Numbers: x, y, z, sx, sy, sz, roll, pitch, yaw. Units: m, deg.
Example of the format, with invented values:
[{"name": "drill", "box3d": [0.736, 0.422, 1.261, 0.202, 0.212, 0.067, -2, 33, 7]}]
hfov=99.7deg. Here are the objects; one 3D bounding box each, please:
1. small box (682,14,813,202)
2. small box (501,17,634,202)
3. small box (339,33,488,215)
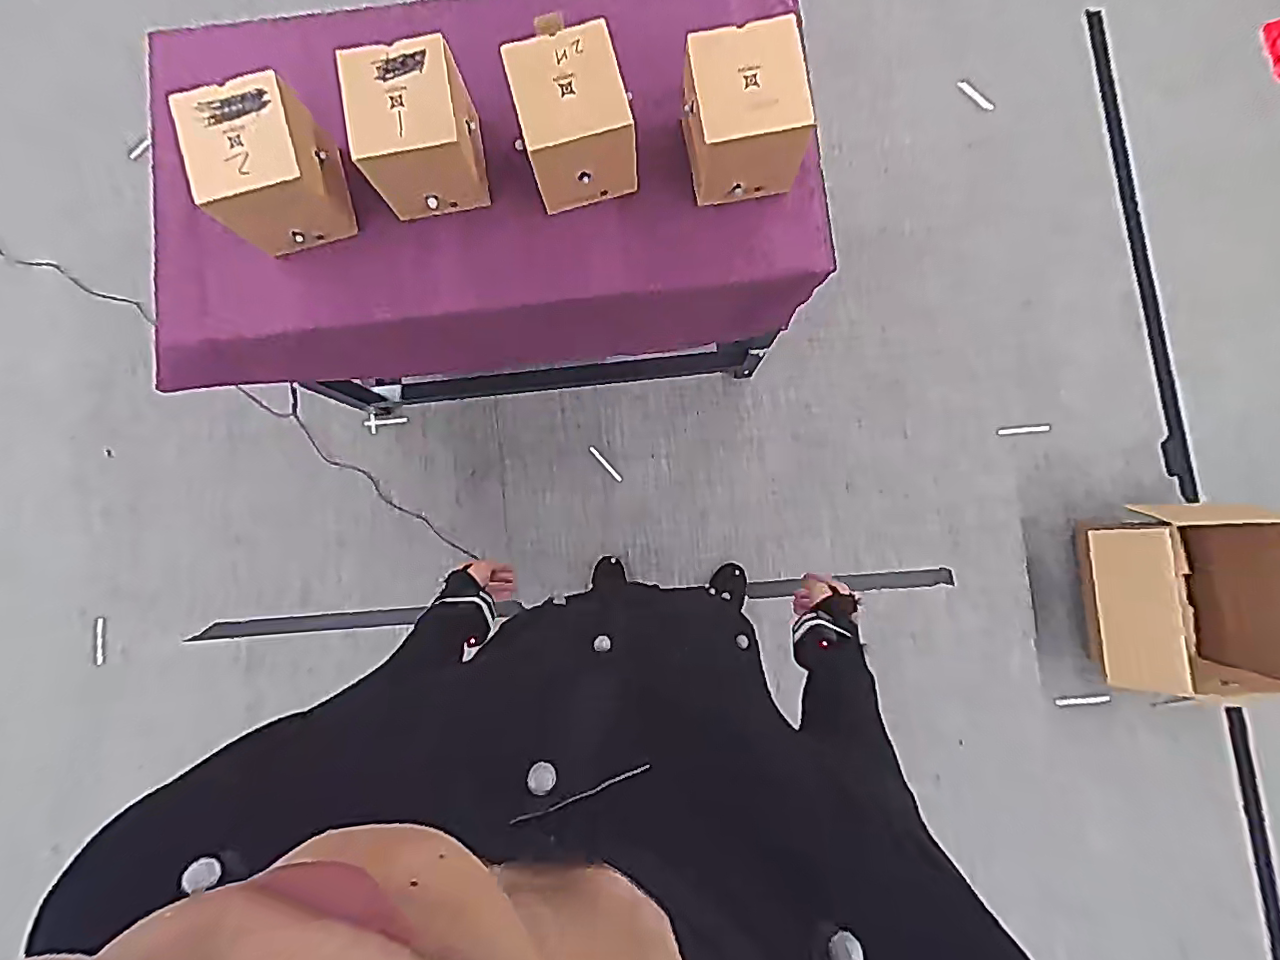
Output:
[{"name": "small box", "box3d": [0.164, -0.592, 0.880, 0.168, 0.176, 0.179, -9, 85, 1]}, {"name": "small box", "box3d": [-0.109, -0.588, 0.886, 0.168, 0.176, 0.179, -15, 85, 0]}, {"name": "small box", "box3d": [-0.362, -0.574, 0.891, 0.168, 0.176, 0.179, -10, 86, 1]}]
